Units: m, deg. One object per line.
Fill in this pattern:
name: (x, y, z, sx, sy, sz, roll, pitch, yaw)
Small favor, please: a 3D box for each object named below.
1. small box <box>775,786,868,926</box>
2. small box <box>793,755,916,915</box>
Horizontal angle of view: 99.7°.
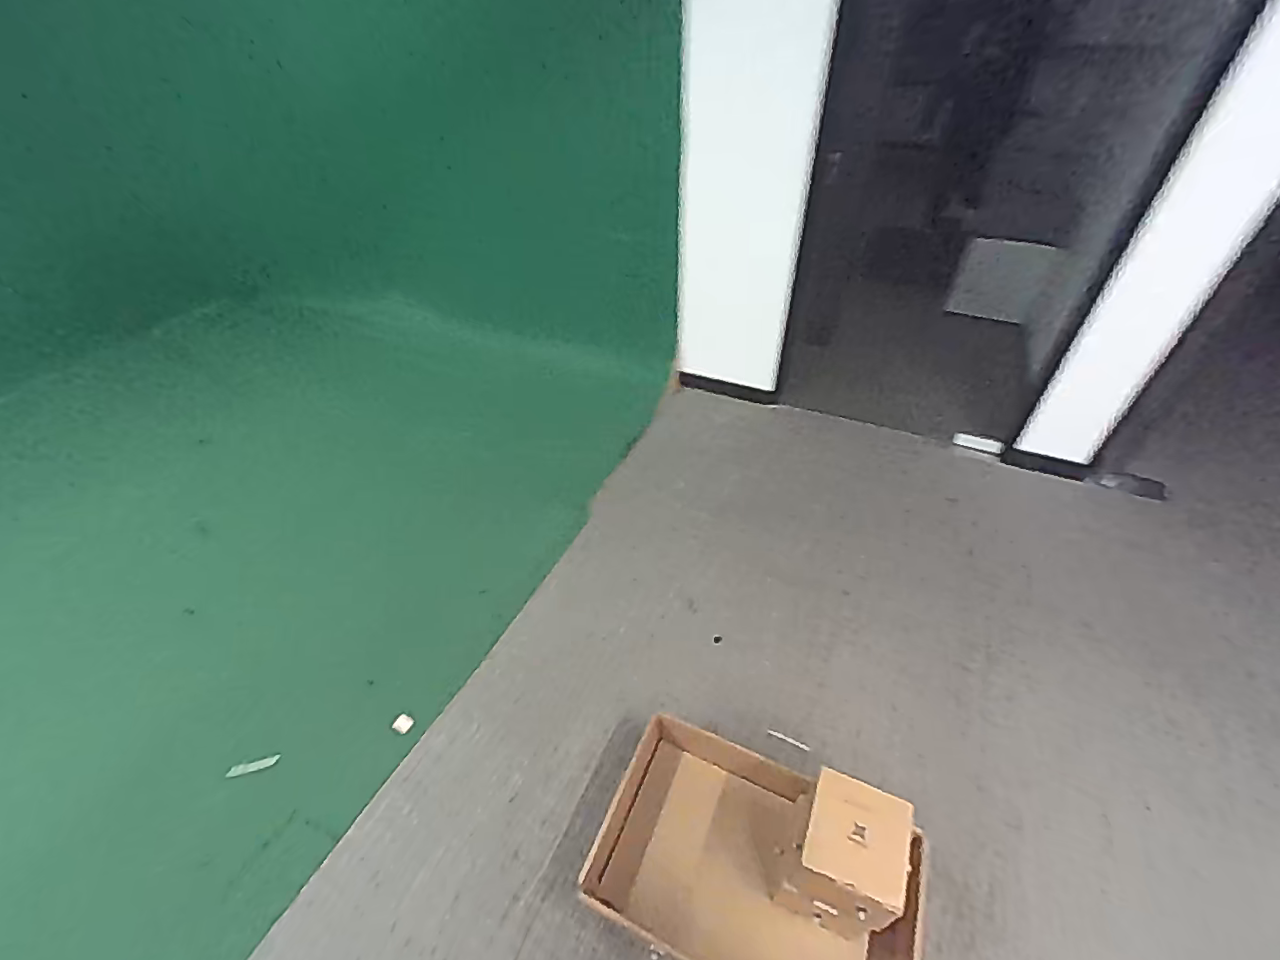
small box: (0.381, 0.781, 1.120, 0.168, 0.176, 0.179, 12, 45, 18)
small box: (0.387, 0.652, 0.991, 0.168, 0.176, 0.179, 17, 47, 20)
